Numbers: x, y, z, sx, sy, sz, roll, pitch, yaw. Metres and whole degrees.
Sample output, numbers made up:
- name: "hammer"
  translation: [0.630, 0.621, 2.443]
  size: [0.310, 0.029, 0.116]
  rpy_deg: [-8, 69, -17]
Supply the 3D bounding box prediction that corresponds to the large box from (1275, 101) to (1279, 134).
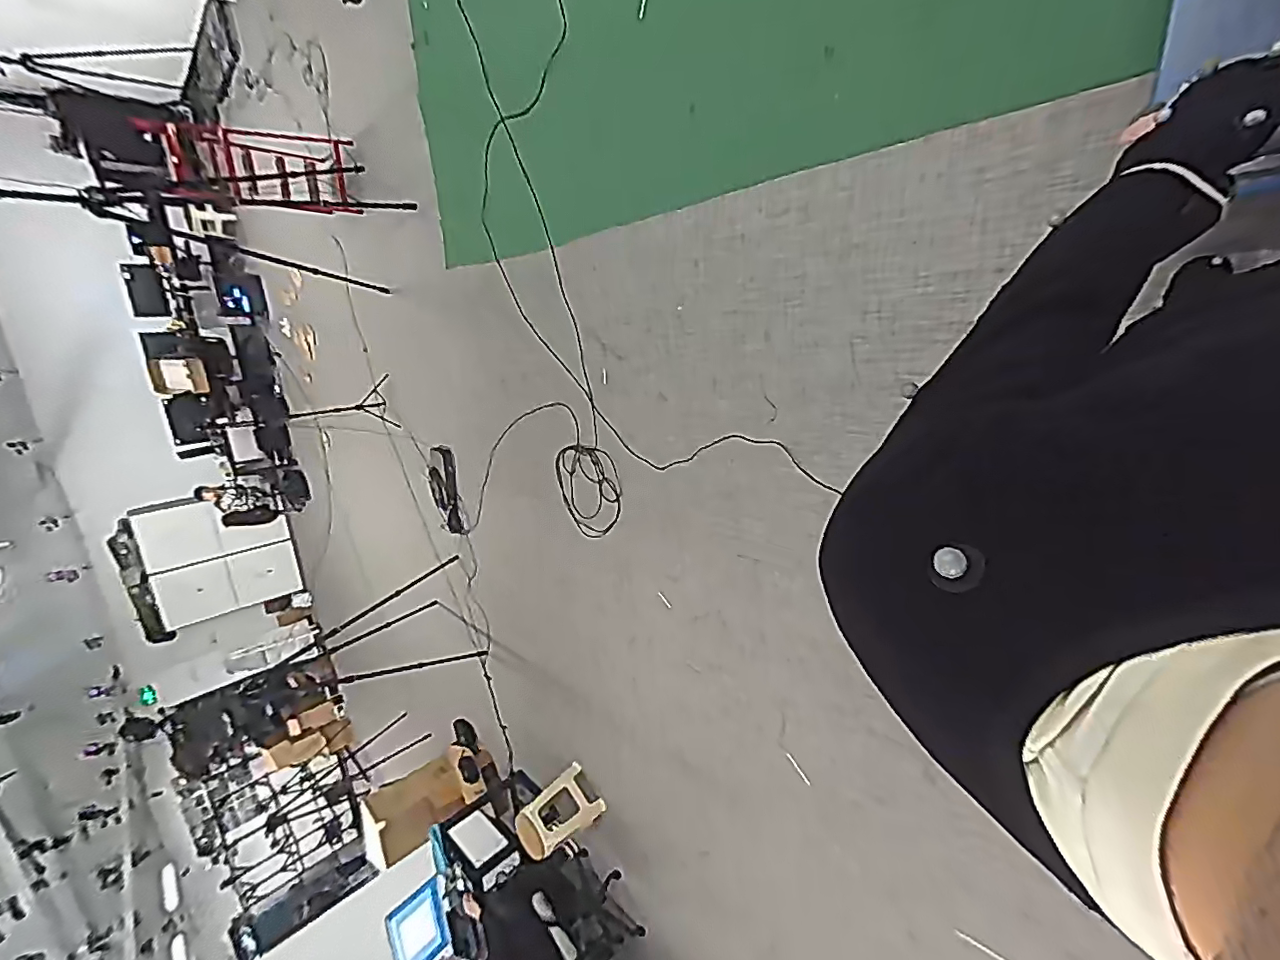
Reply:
- name: "large box"
  translation: [1.050, -0.715, 0.652]
  size: [0.320, 0.320, 0.408]
  rpy_deg: [12, 110, 43]
